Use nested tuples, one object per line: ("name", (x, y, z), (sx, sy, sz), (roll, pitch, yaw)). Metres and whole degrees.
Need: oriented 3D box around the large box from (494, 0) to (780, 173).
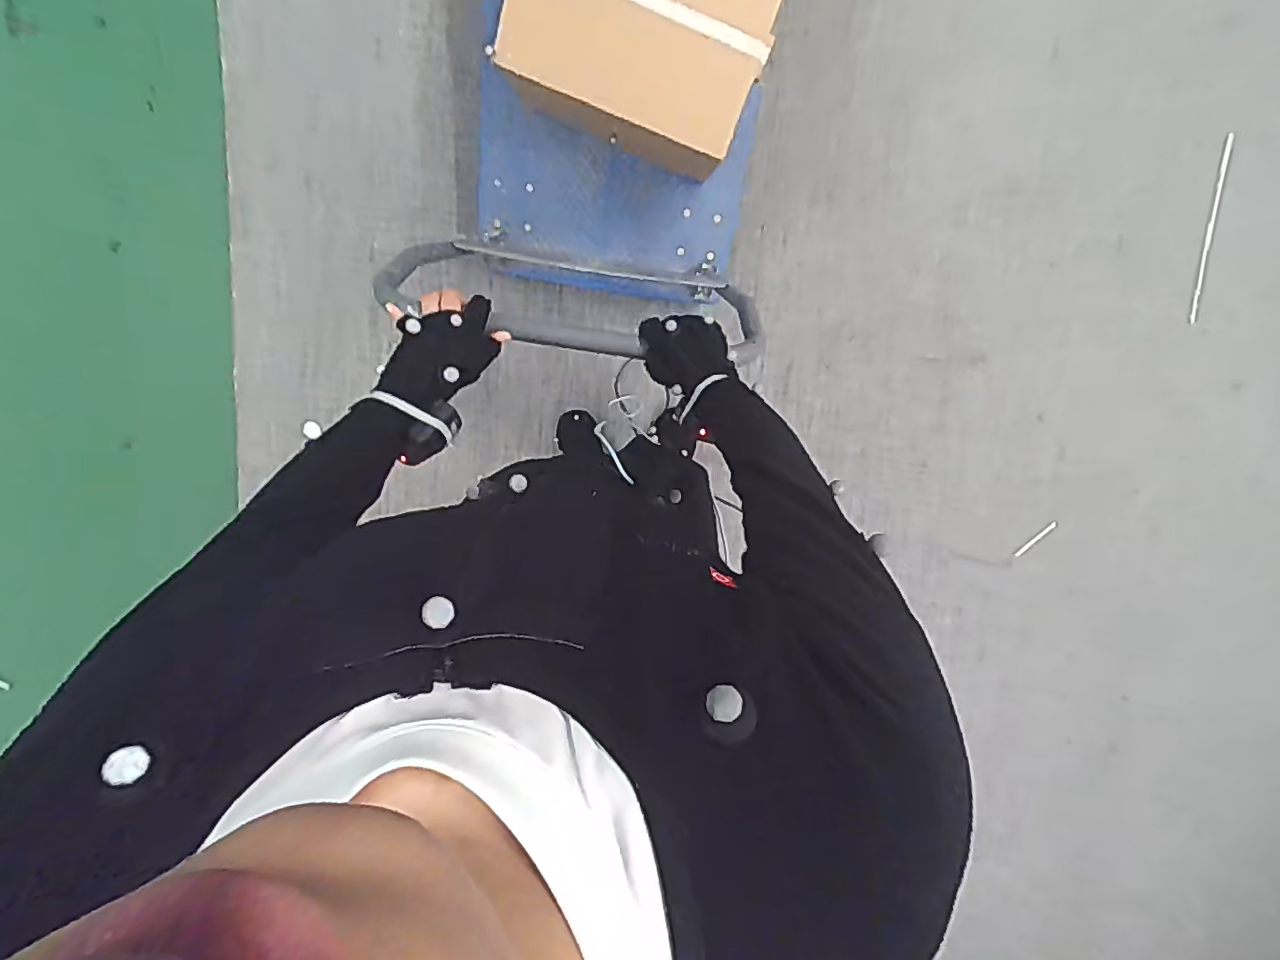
("large box", (0.007, -0.796, 0.964), (0.408, 0.320, 0.320), (19, 112, -8))
